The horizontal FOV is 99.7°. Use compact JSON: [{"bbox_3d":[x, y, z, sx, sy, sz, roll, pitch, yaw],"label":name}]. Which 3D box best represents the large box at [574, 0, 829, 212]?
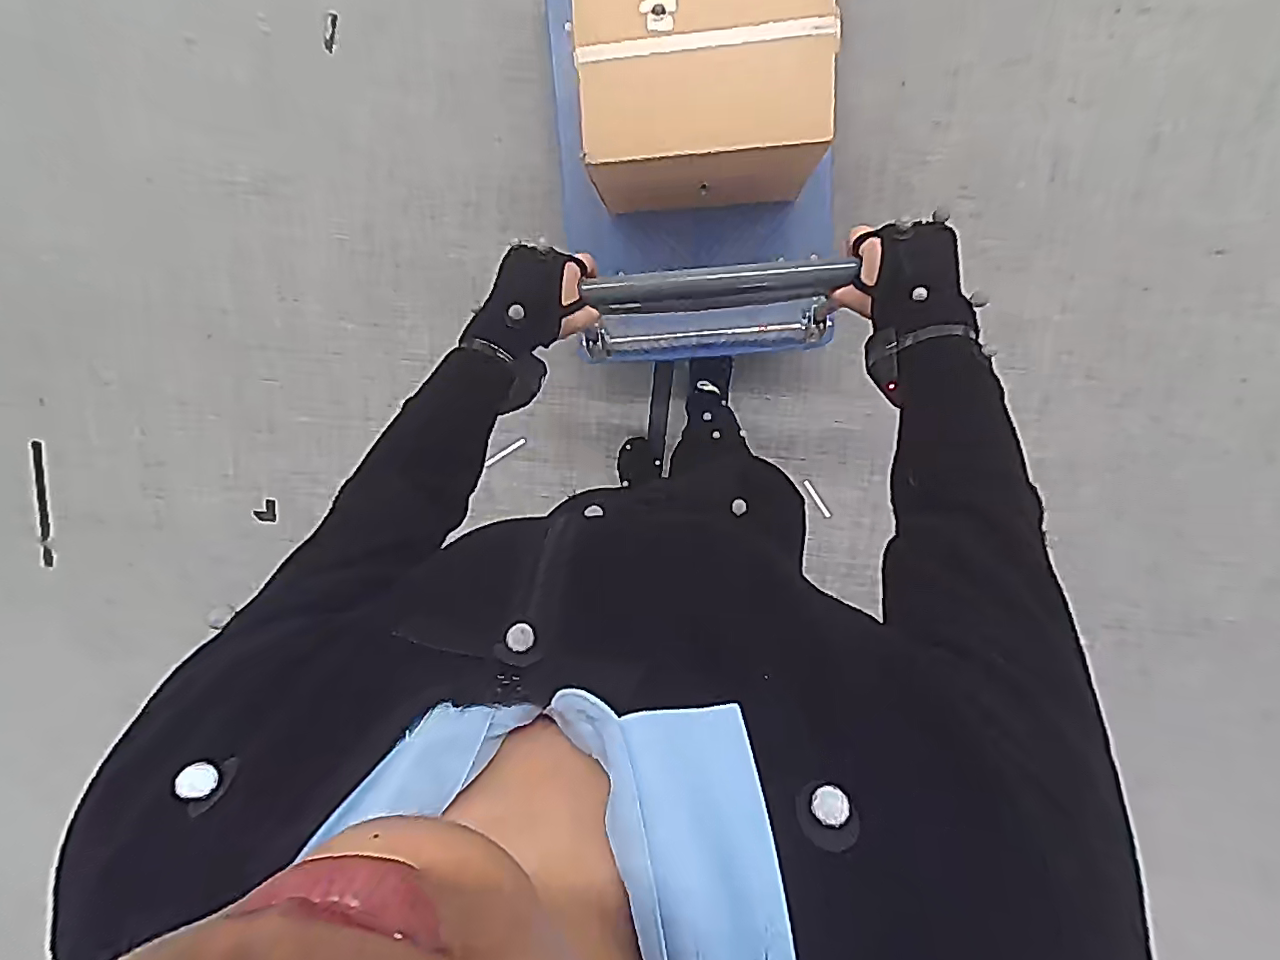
[{"bbox_3d":[0.114,-0.723,1.012,0.408,0.320,0.320,-2,101,7],"label":"large box"}]
